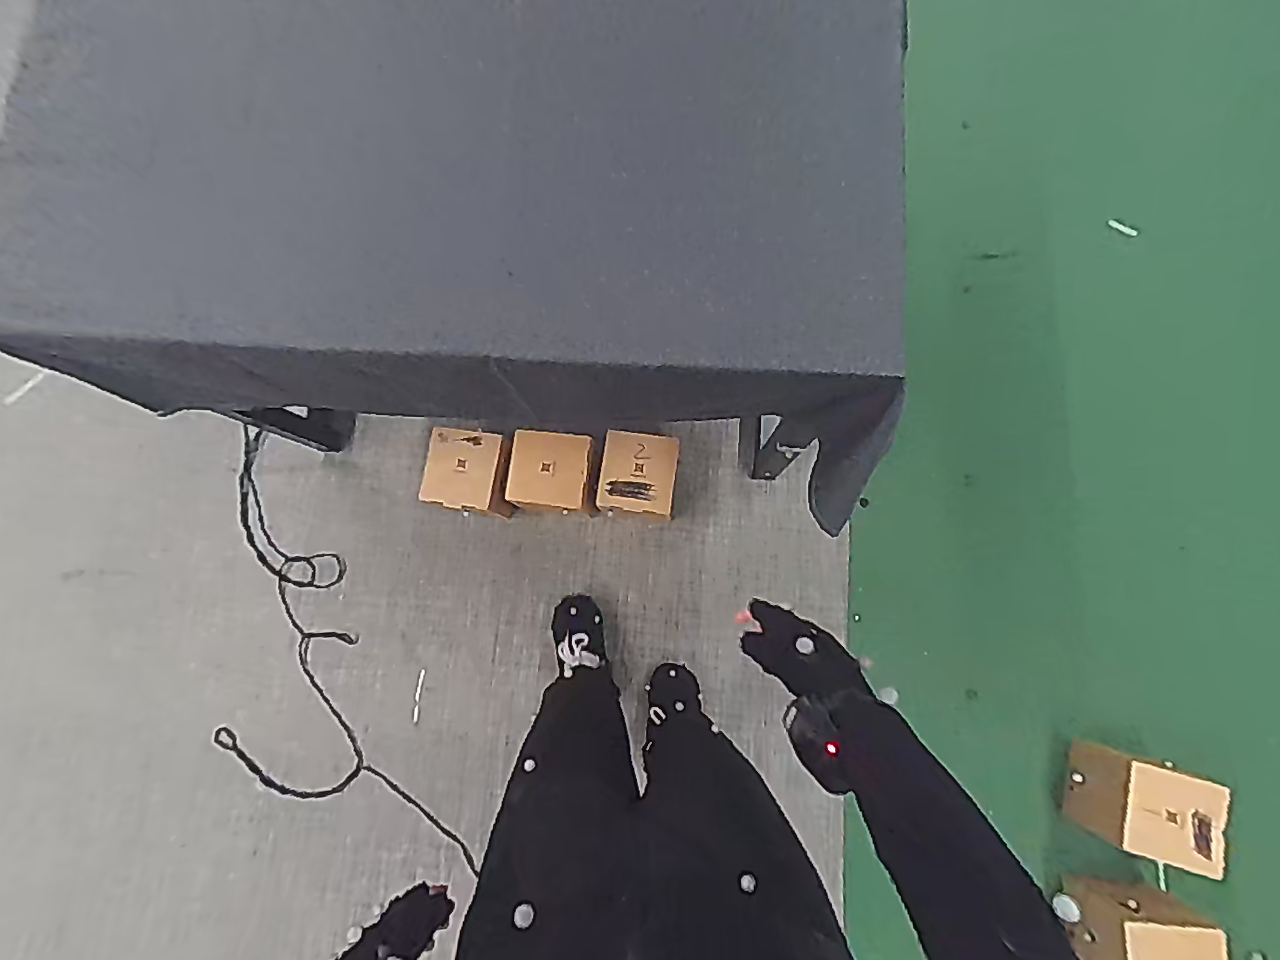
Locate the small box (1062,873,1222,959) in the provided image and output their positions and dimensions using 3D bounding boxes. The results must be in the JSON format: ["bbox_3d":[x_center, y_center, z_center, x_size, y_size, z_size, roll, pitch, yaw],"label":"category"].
[{"bbox_3d":[0.959,0.898,1.047,0.179,0.176,0.168,3,80,3],"label":"small box"}]

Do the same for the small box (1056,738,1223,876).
[{"bbox_3d":[0.999,0.646,1.092,0.179,0.176,0.168,15,80,7],"label":"small box"}]
